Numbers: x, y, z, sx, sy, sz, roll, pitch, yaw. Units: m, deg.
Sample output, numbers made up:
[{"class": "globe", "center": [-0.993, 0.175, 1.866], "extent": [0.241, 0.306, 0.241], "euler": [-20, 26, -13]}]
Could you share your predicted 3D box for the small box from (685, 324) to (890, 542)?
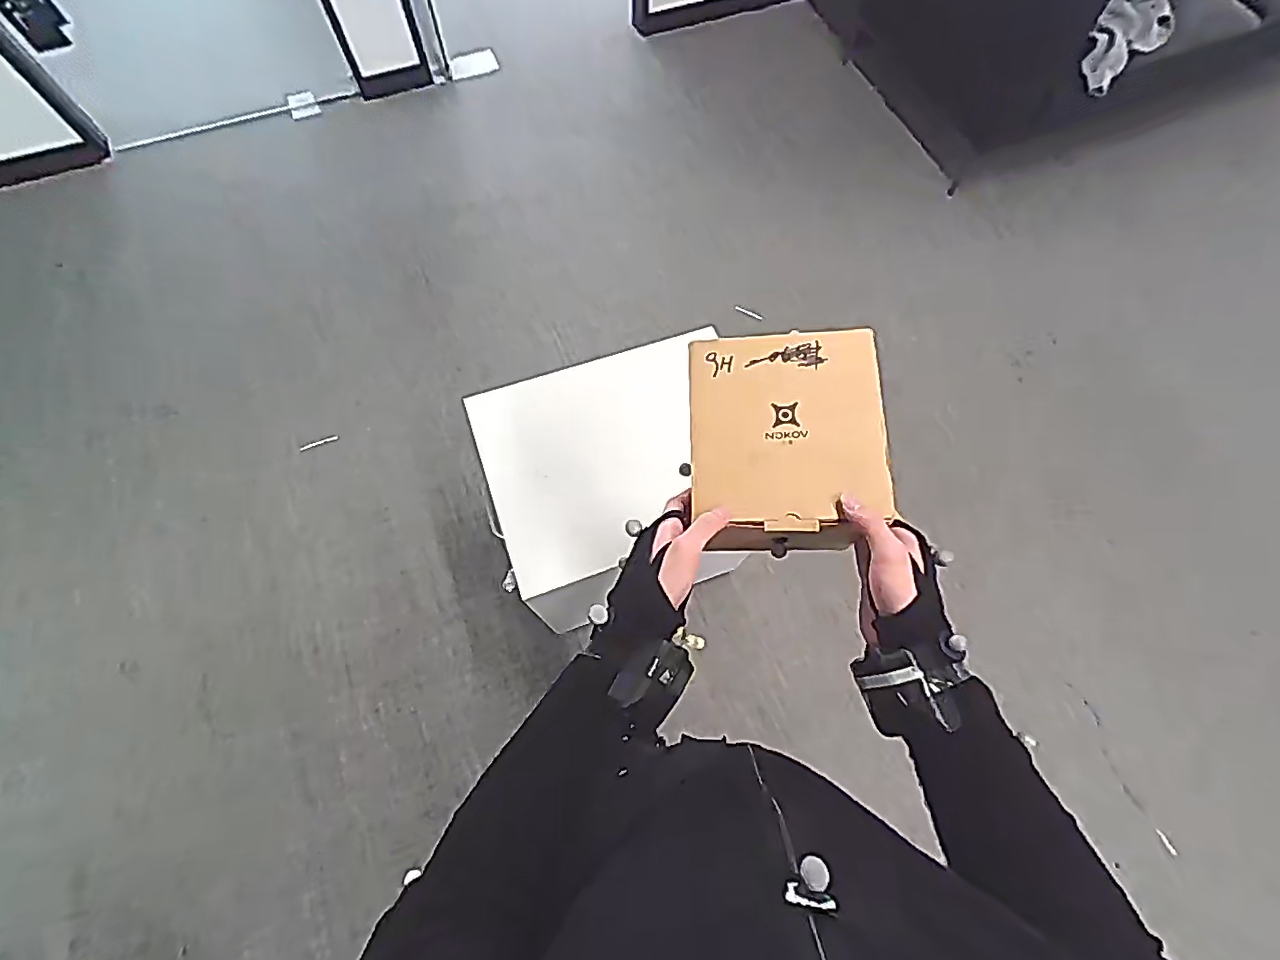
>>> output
[{"class": "small box", "center": [0.140, -0.032, 0.557], "extent": [0.168, 0.176, 0.179], "euler": [-5, 74, 8]}]
